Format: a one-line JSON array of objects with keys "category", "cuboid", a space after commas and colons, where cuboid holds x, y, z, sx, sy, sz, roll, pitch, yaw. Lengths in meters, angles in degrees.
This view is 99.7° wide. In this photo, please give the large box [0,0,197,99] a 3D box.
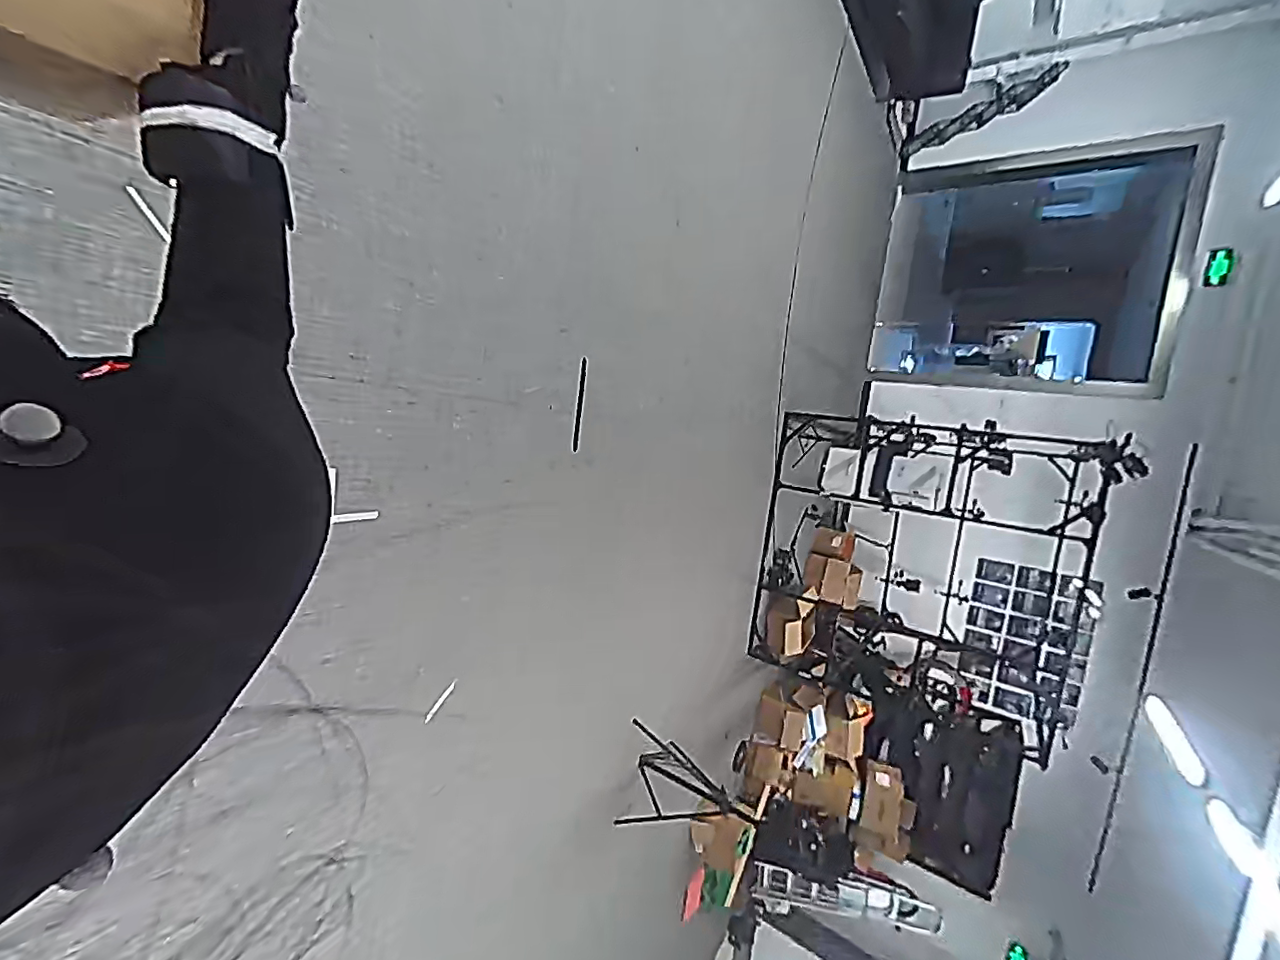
[{"category": "large box", "cuboid": [-0.523, -0.462, 0.272, 0.408, 0.320, 0.320, -6, 115, -57]}]
